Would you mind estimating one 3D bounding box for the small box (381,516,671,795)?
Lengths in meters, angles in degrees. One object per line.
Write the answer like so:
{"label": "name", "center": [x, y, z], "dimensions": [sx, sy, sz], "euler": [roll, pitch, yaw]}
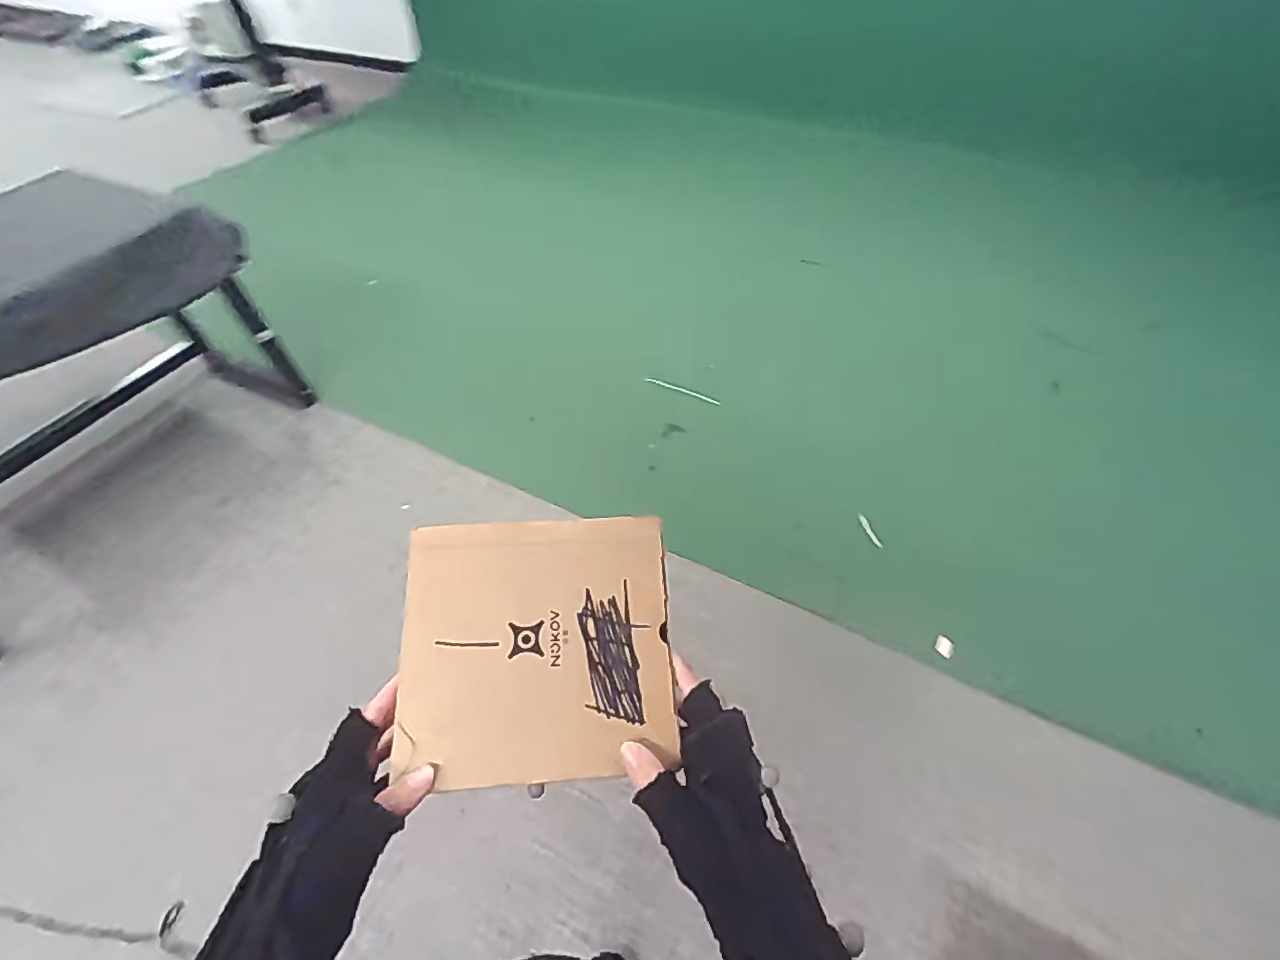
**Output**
{"label": "small box", "center": [-0.079, 0.135, 0.428], "dimensions": [0.179, 0.176, 0.168], "euler": [-4, 67, -5]}
